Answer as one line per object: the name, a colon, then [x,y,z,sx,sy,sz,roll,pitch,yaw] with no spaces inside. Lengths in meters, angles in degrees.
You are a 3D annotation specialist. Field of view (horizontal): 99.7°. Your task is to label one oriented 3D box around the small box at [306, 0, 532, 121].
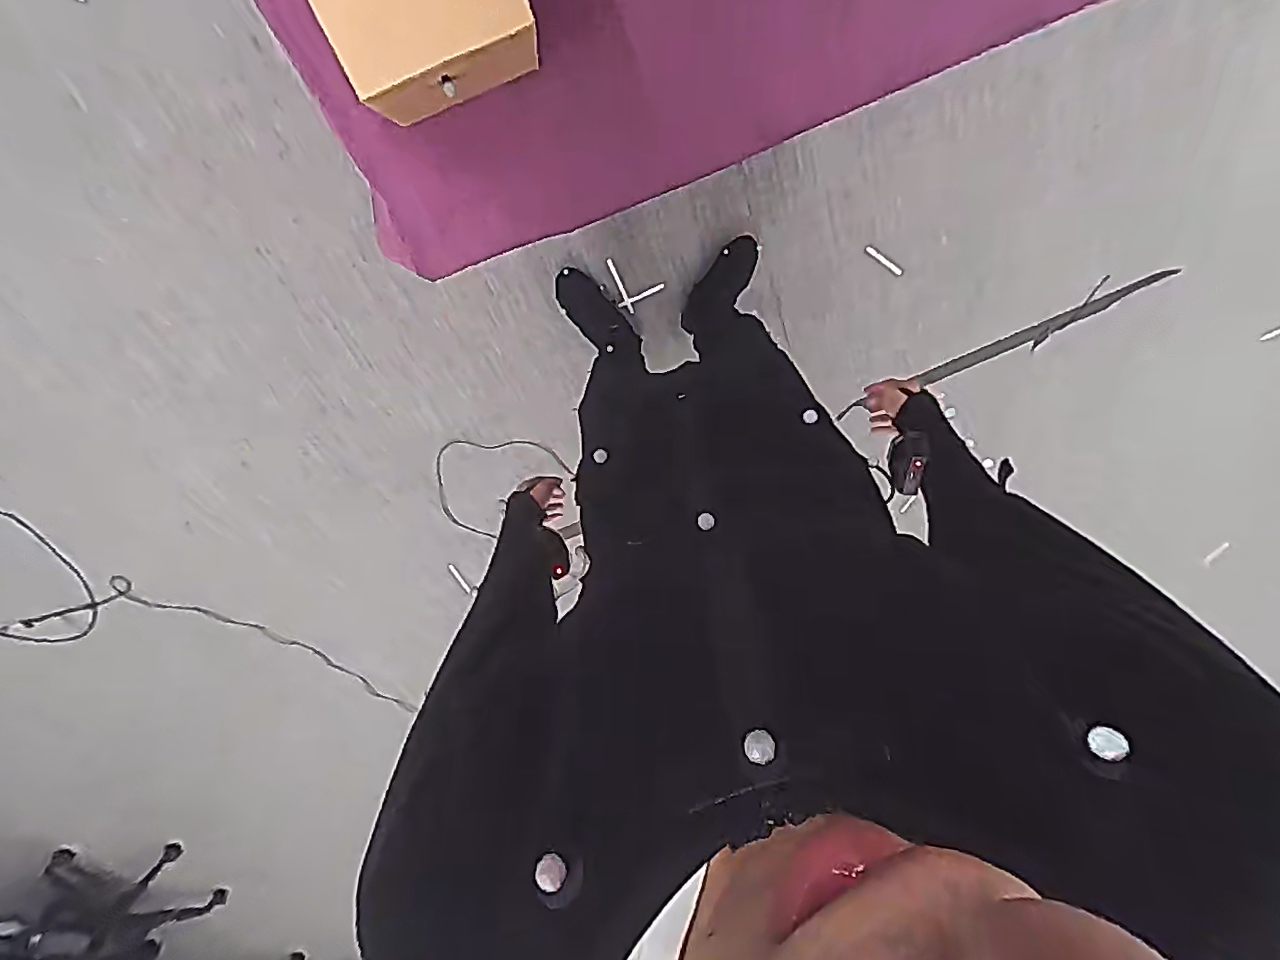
small box: [-0.214,-0.474,0.519,0.179,0.176,0.168,-22,118,1]
